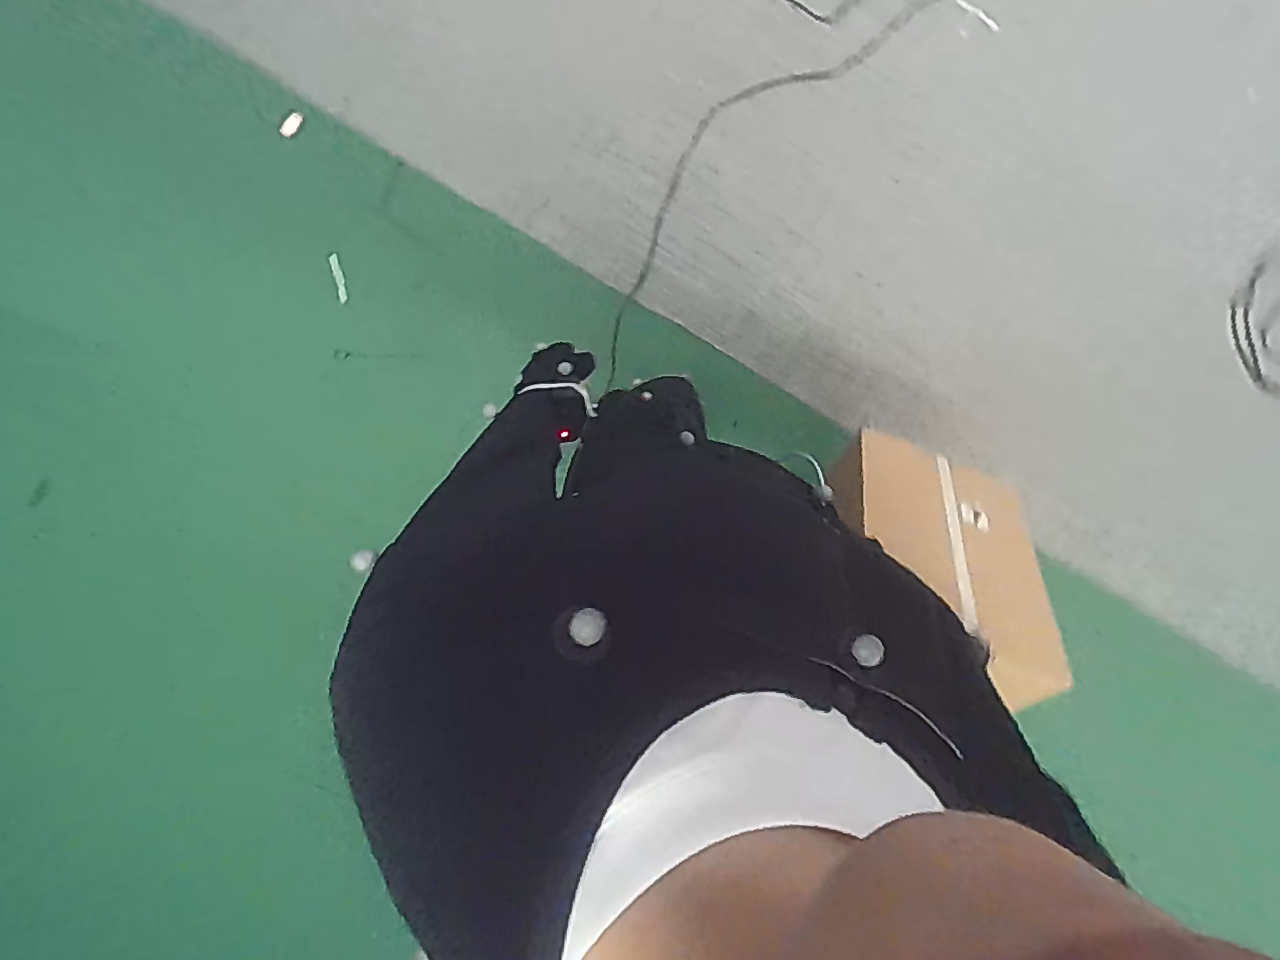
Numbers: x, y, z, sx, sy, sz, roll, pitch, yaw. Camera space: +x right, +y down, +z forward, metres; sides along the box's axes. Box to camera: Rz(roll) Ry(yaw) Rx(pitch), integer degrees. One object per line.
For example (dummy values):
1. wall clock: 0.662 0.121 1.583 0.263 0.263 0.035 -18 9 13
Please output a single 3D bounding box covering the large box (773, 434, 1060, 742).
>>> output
1. large box: 0.463 0.194 1.002 0.320 0.408 0.320 23 135 -1
